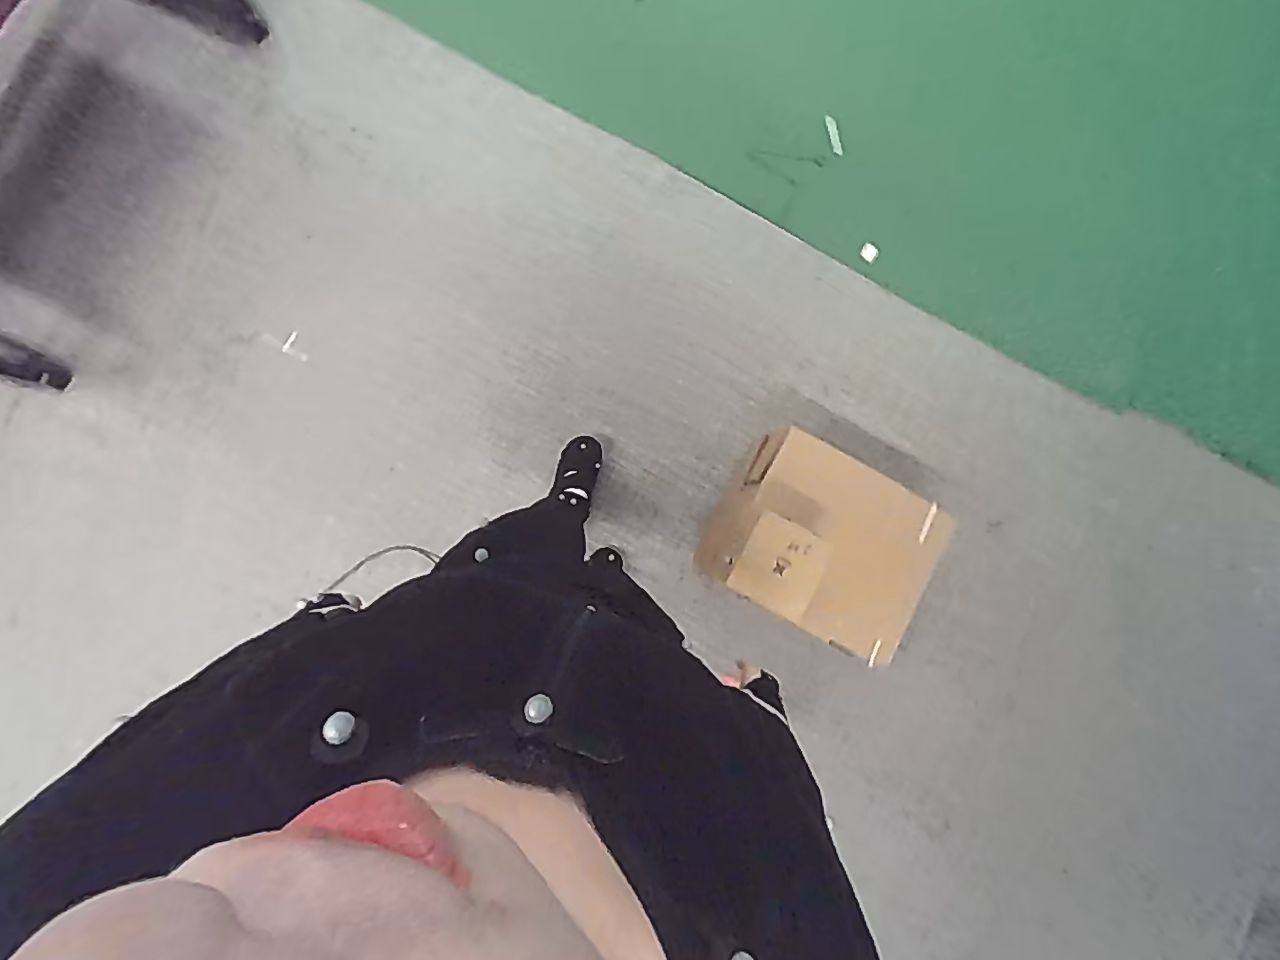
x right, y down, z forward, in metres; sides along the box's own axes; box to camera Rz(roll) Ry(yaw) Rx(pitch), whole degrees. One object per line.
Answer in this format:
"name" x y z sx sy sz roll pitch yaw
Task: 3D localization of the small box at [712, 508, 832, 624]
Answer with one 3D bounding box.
"small box" 0.266 0.172 1.140 0.168 0.176 0.179 30 85 -2
